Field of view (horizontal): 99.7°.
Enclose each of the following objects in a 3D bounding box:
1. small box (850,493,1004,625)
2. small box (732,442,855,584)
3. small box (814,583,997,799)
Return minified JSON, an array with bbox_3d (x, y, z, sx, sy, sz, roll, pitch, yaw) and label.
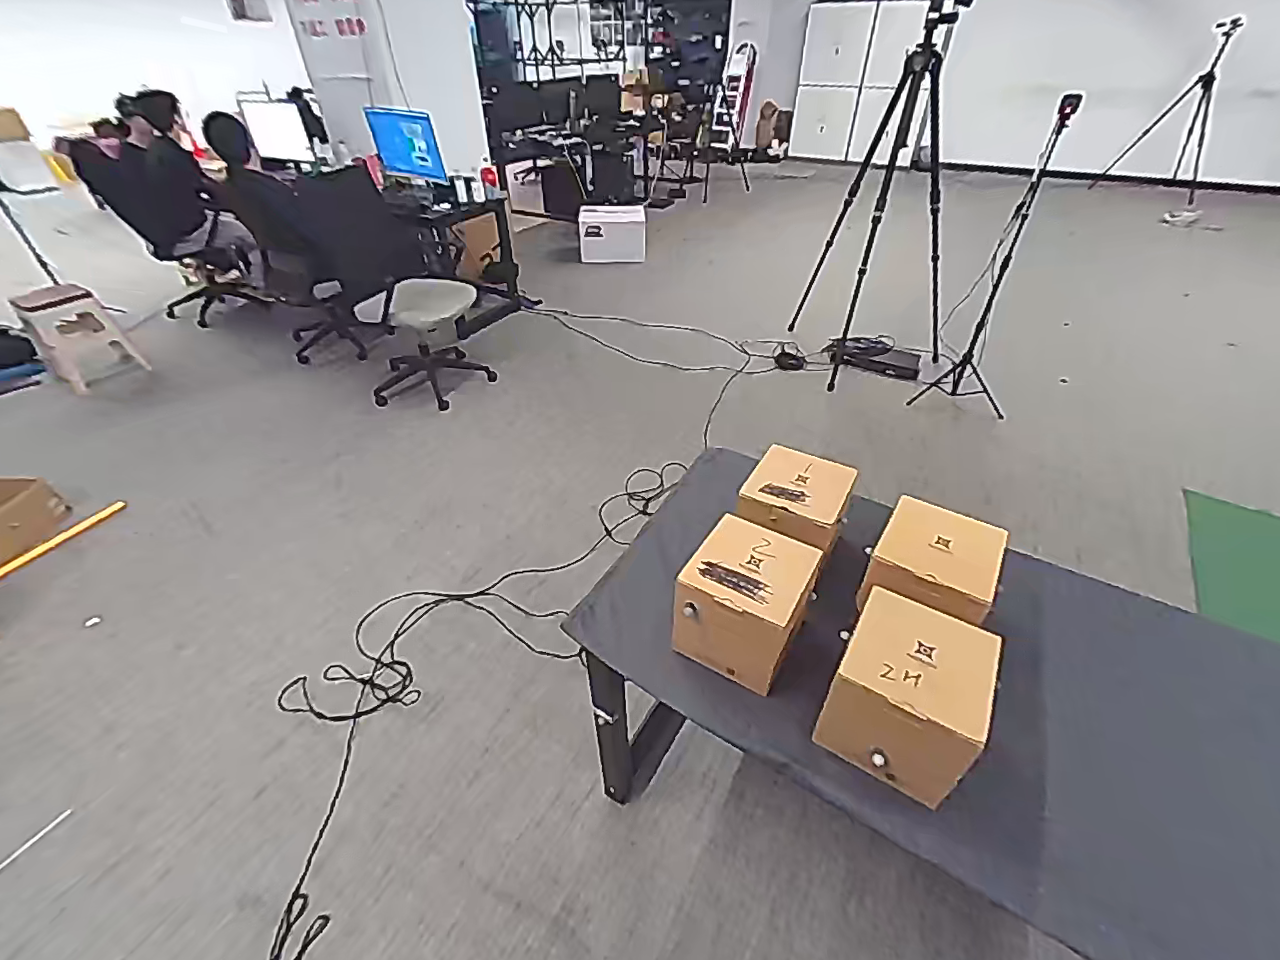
[{"bbox_3d":[0.467,0.159,0.894,0.168,0.176,0.179,24,46,26],"label":"small box"},{"bbox_3d":[0.280,0.062,1.010,0.168,0.176,0.179,21,44,24],"label":"small box"},{"bbox_3d":[0.354,0.282,0.737,0.168,0.176,0.179,23,43,26],"label":"small box"}]
